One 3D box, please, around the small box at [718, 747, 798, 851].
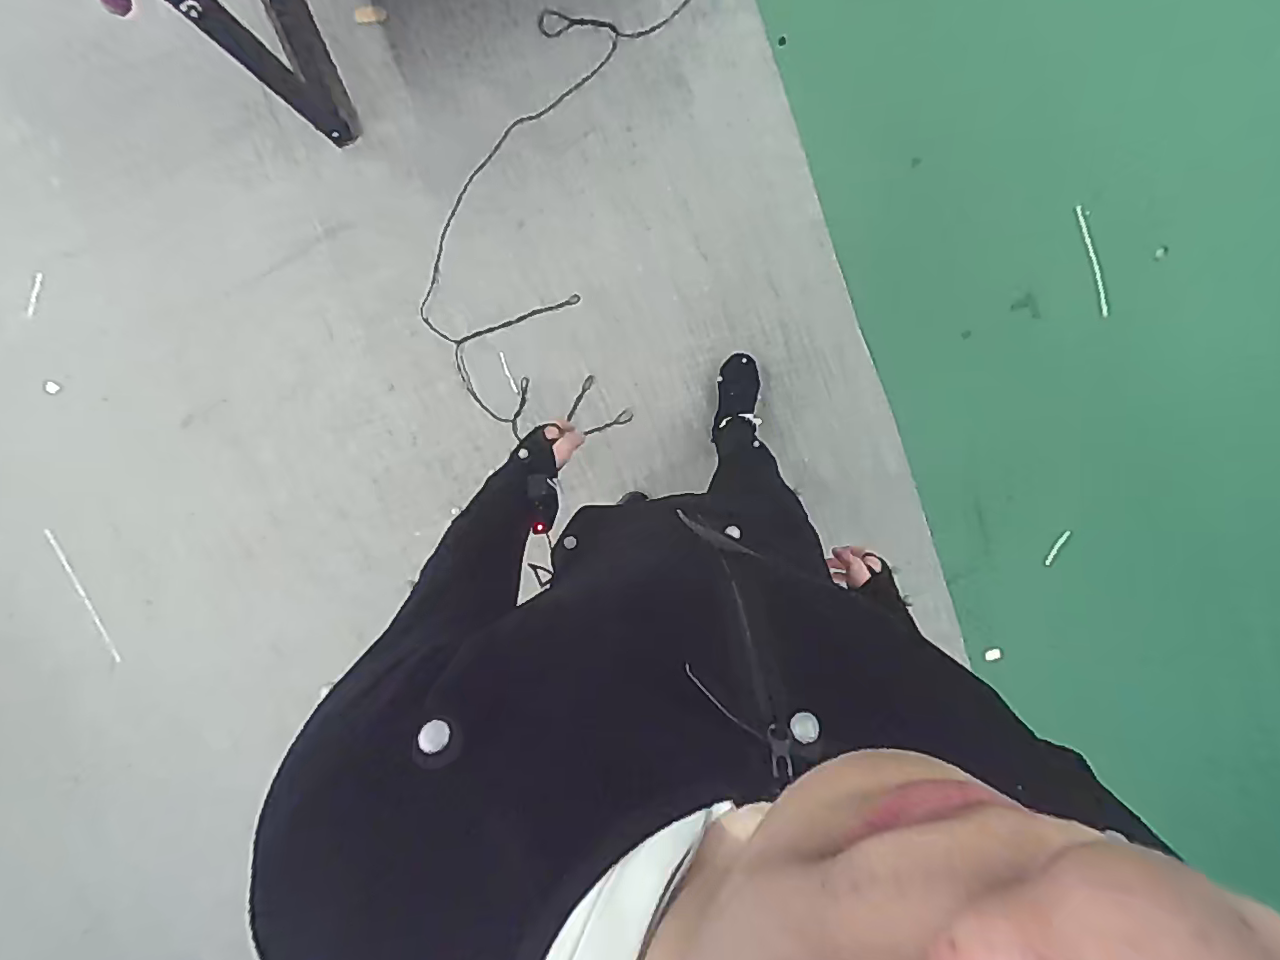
[{"bbox_3d":[0.347,0.947,1.619,0.168,0.176,0.179,-26,95,5],"label":"small box"}]
